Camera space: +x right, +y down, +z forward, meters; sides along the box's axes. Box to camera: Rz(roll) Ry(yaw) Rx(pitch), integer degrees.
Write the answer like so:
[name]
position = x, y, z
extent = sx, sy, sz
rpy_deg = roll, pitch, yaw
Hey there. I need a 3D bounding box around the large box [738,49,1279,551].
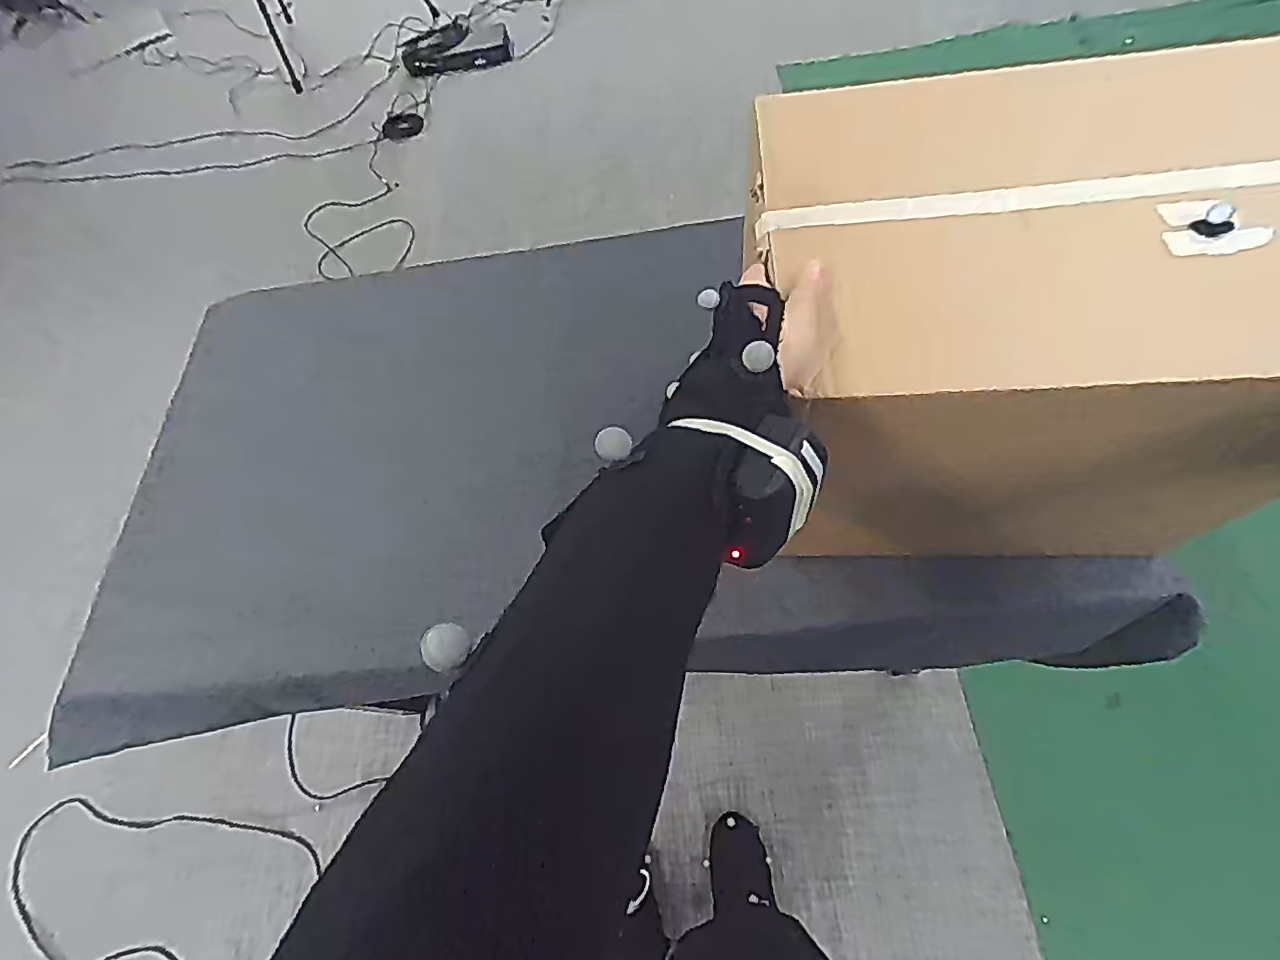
[large box]
position = 0.311, -0.130, 0.510
extent = 0.408, 0.320, 0.320
rpy_deg = -1, 65, 6
